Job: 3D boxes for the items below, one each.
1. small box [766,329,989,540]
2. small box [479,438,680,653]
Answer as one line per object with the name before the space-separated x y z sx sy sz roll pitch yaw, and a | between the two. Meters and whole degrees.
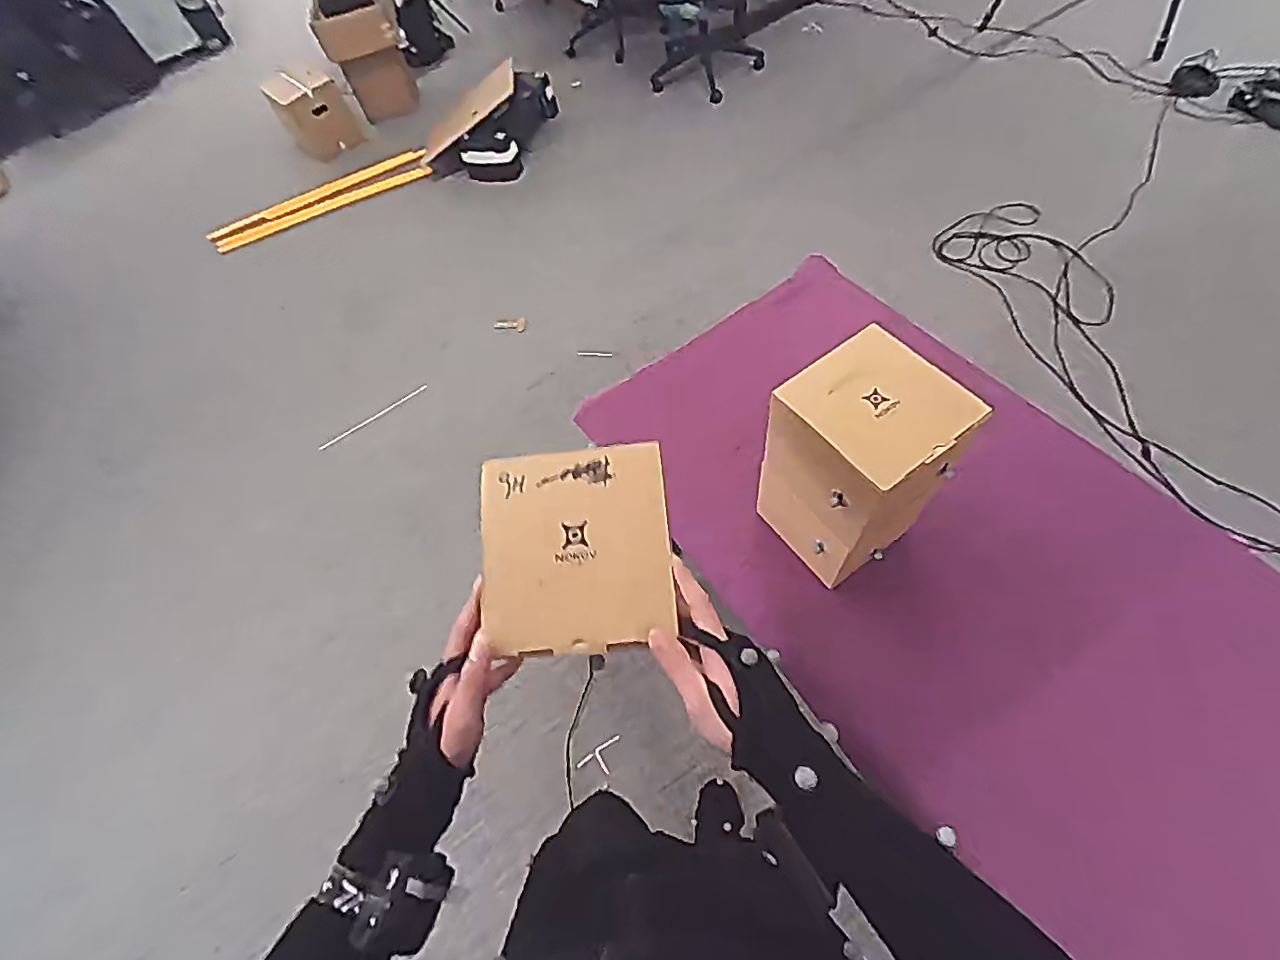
small box | 0.279 -0.046 0.680 0.168 0.176 0.179 -33 60 -10
small box | -0.050 0.074 0.540 0.168 0.176 0.179 -5 73 3
